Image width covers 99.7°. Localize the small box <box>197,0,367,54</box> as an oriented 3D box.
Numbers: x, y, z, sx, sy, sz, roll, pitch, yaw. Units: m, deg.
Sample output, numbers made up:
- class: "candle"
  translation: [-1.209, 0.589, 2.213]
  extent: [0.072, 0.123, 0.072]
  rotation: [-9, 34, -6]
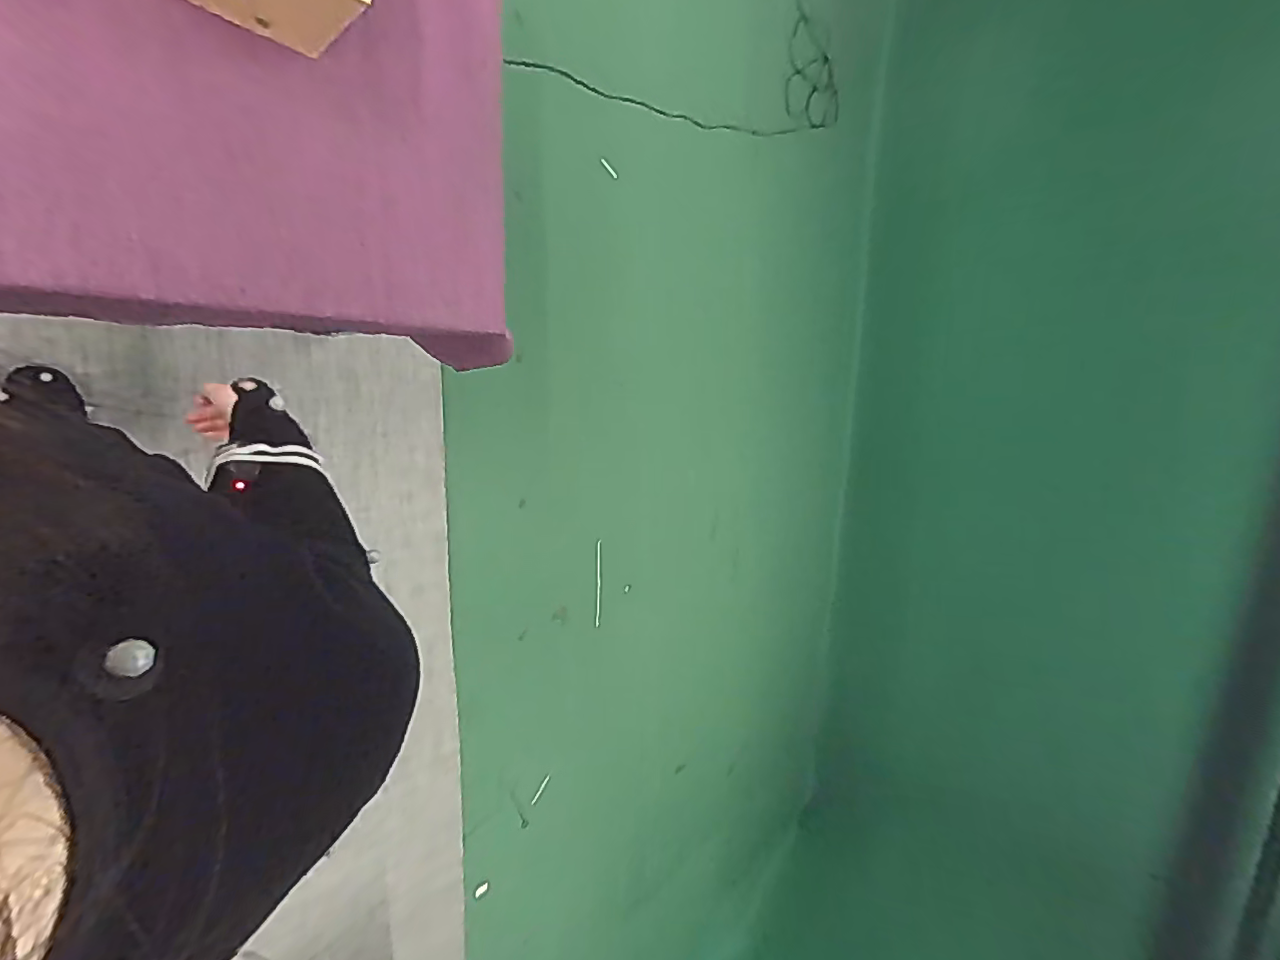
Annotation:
- class: "small box"
  translation: [-0.383, -0.577, 0.535]
  extent: [0.168, 0.176, 0.179]
  rotation: [-5, 102, -47]
